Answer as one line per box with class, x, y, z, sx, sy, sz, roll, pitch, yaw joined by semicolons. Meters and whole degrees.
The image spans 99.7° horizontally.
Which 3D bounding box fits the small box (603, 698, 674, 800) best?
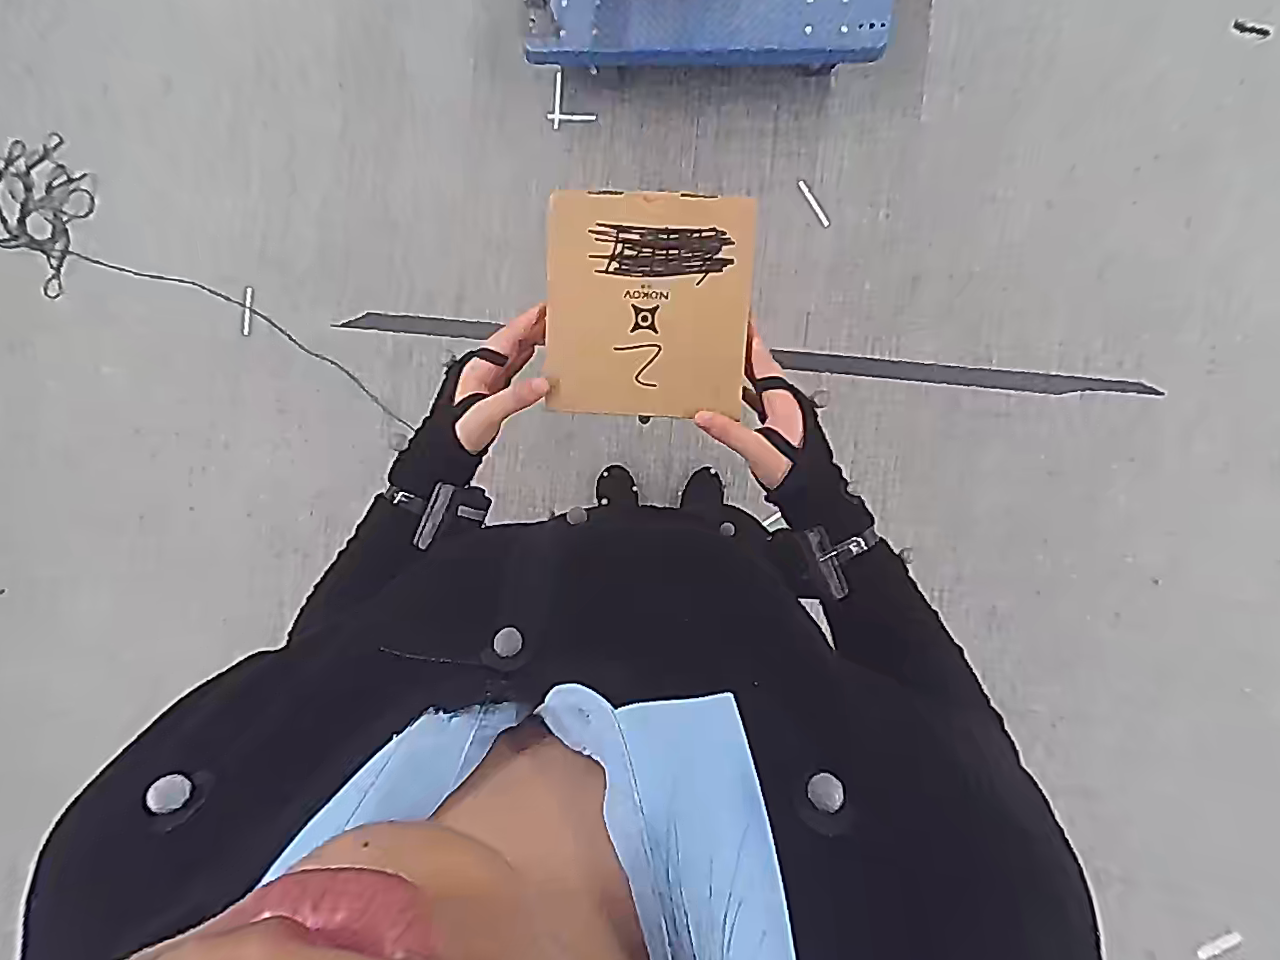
small box;0.002;0.705;1.431;0.168;0.176;0.179;4;91;5
